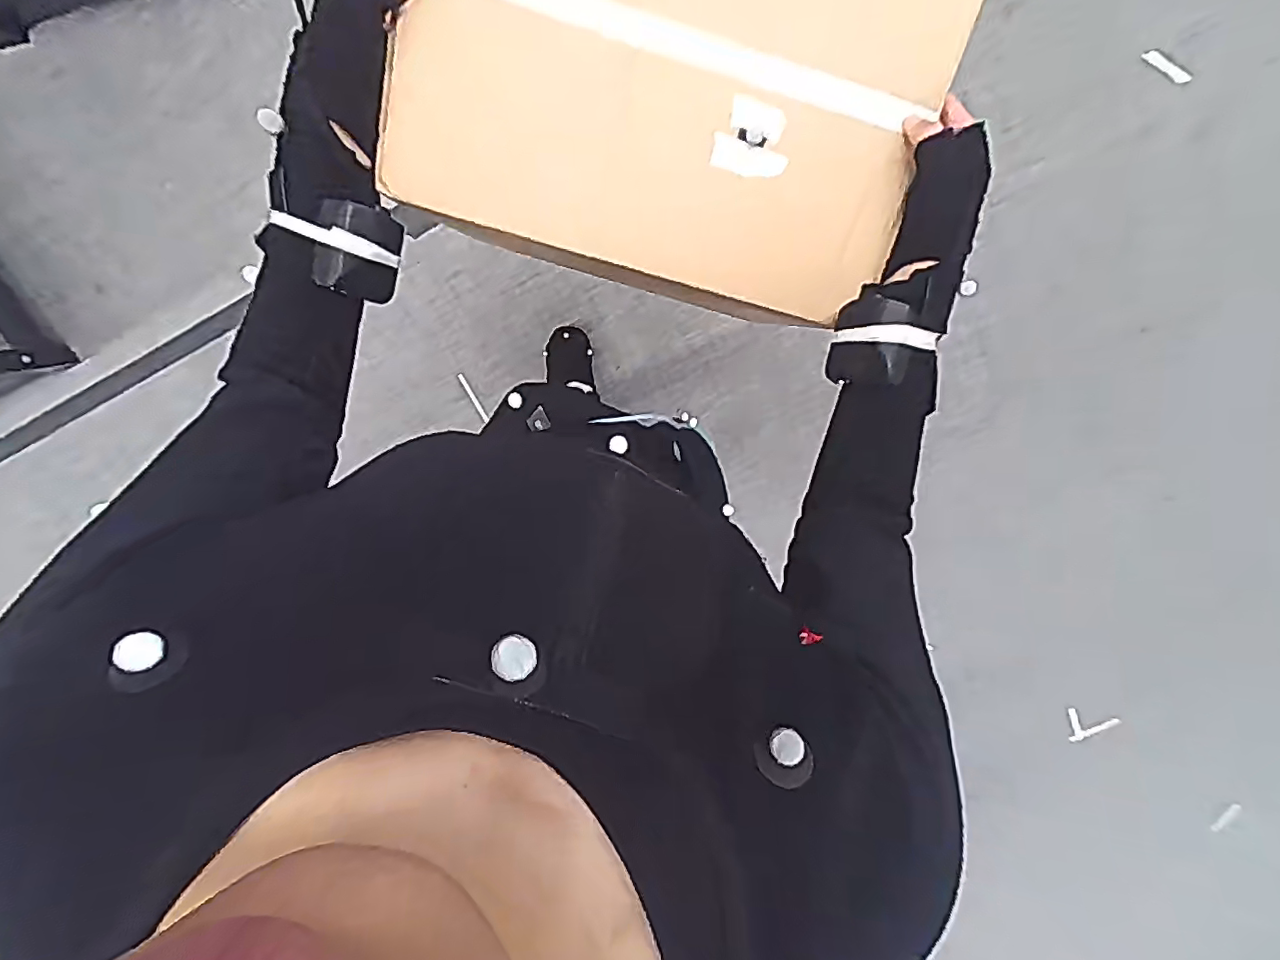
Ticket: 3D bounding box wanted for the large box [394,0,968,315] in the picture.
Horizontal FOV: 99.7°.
[{"bbox_3d":[0.022,-0.370,0.544,0.408,0.320,0.320,13,108,-8],"label":"large box"}]
